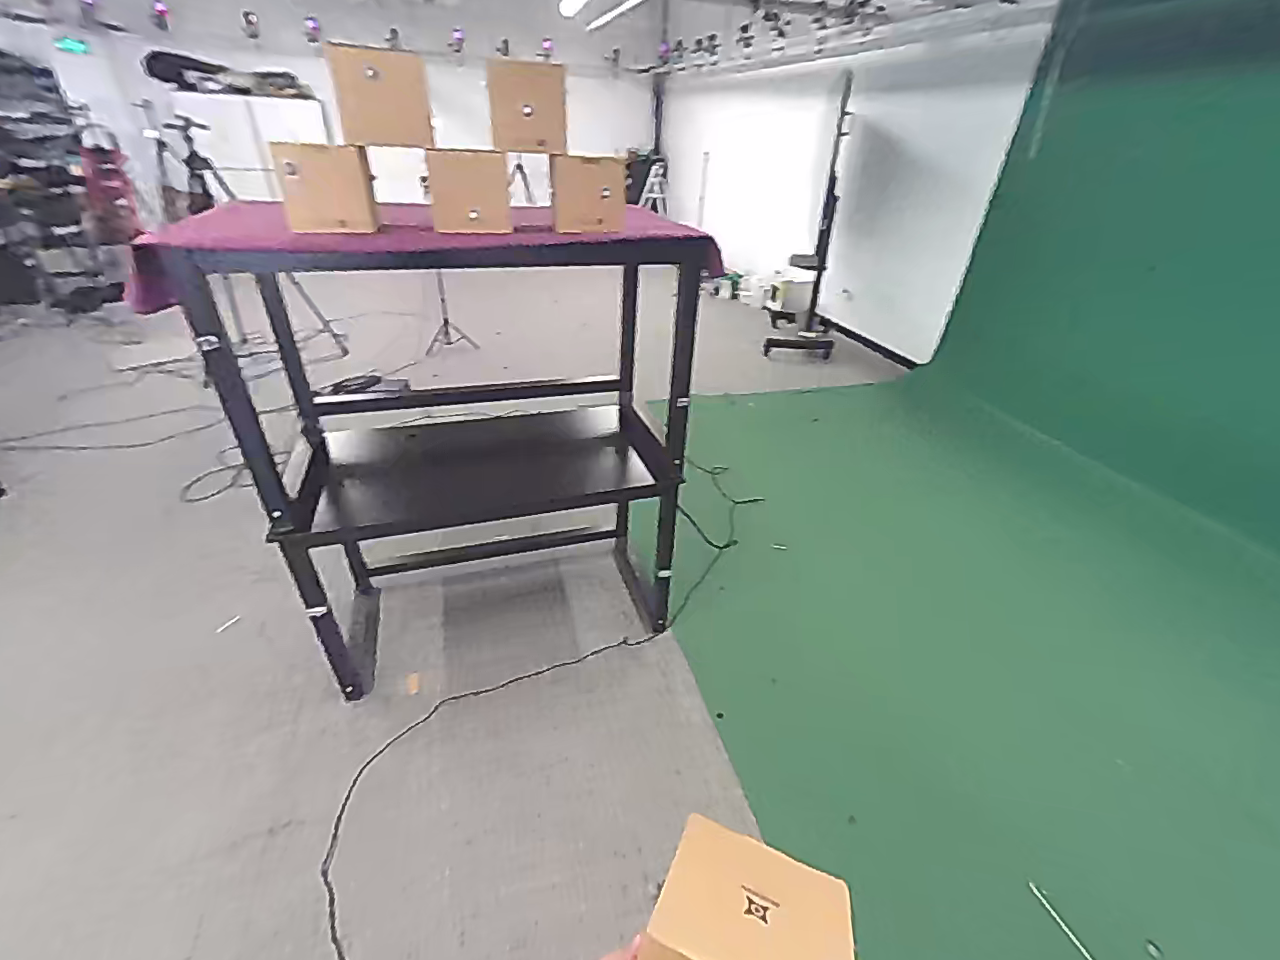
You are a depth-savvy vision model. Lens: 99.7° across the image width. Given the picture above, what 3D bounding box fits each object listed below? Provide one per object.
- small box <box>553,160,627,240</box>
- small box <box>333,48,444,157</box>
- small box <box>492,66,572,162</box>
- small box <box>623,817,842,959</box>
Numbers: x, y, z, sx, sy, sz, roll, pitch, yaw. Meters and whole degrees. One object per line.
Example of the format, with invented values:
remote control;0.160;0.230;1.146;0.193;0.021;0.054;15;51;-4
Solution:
small box;-0.127;-0.703;1.357;0.168;0.176;0.179;-5;32;-12
small box;-0.526;-0.795;1.154;0.179;0.176;0.168;-5;32;-15
small box;-0.246;-0.830;1.238;0.168;0.176;0.179;-4;32;-13
small box;0.072;0.454;0.474;0.168;0.176;0.179;16;1;17
